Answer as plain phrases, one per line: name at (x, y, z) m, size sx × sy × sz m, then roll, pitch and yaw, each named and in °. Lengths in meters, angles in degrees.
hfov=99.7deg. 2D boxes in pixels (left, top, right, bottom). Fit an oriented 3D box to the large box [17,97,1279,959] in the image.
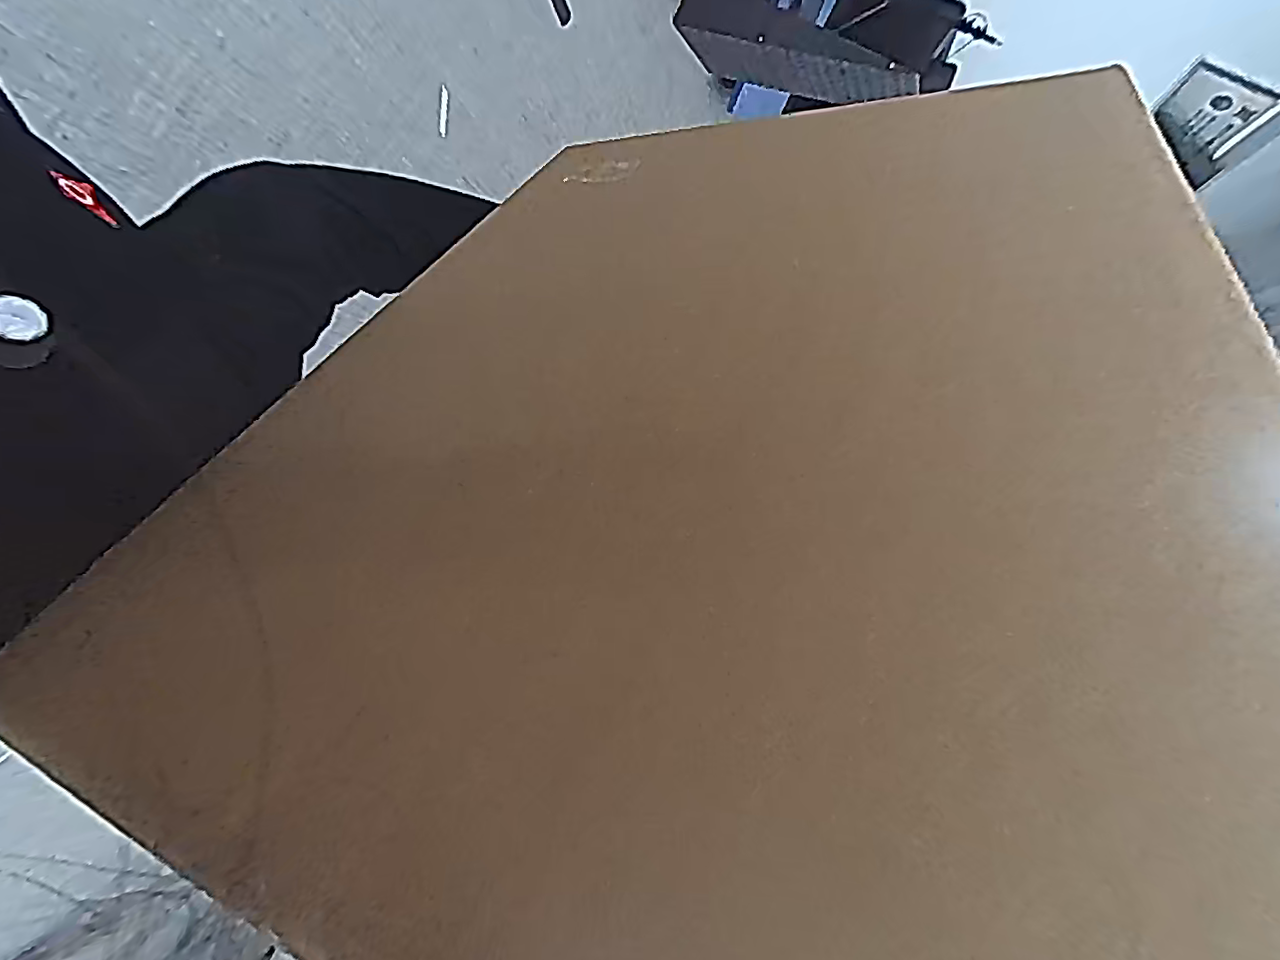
large box at (0.050, 0.031, 0.319) m, size 0.320 × 0.320 × 0.408 m, roll 73°, pitch 35°, yaw -46°
